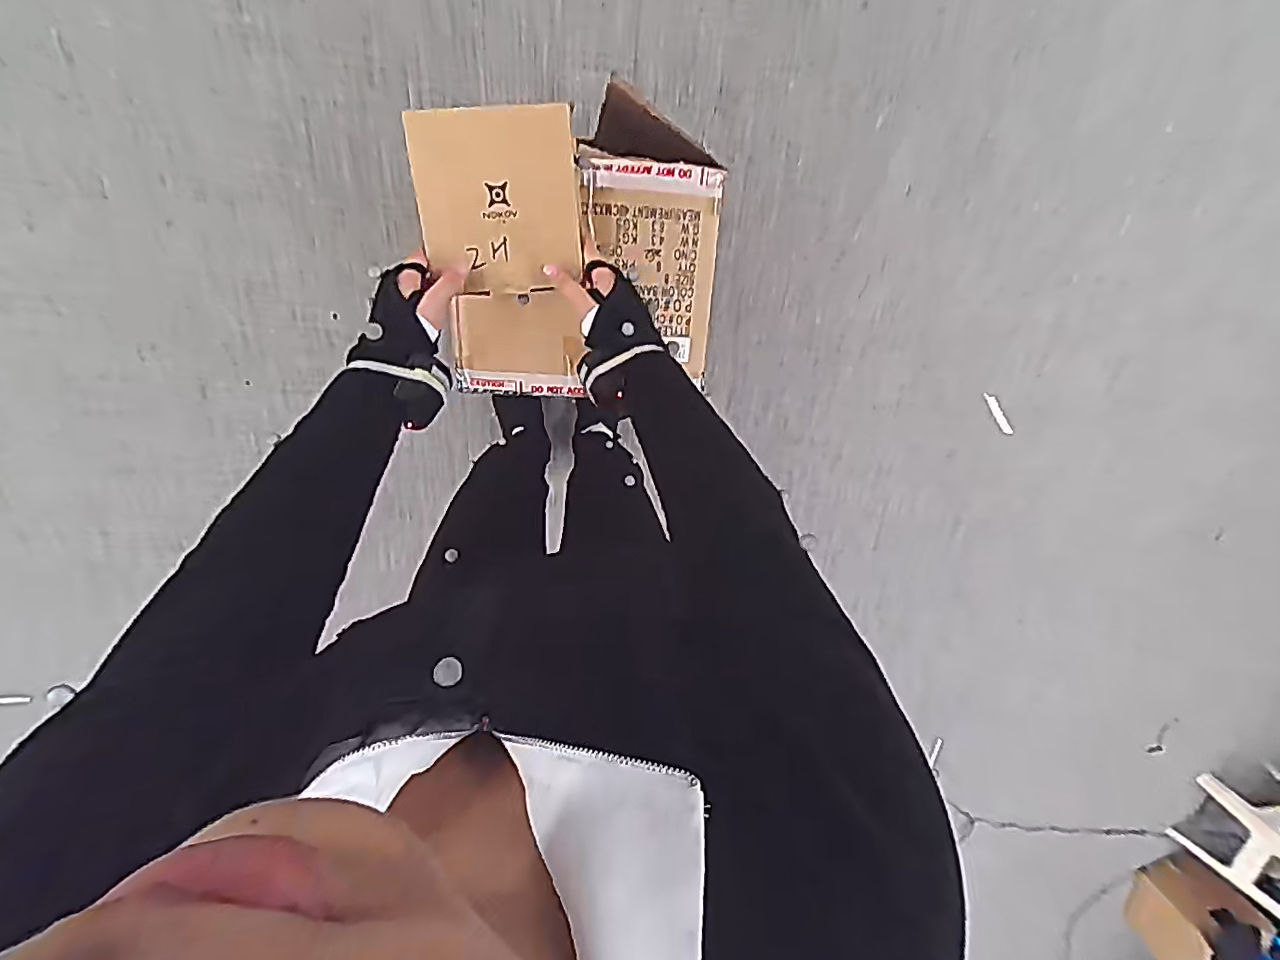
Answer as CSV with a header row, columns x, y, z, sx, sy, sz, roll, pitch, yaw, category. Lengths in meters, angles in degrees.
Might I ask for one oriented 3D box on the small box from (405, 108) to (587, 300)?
x,y,z,sx,sy,sz,roll,pitch,yaw,category
-0.151,-0.305,0.631,0.168,0.176,0.179,-4,110,-2,small box
